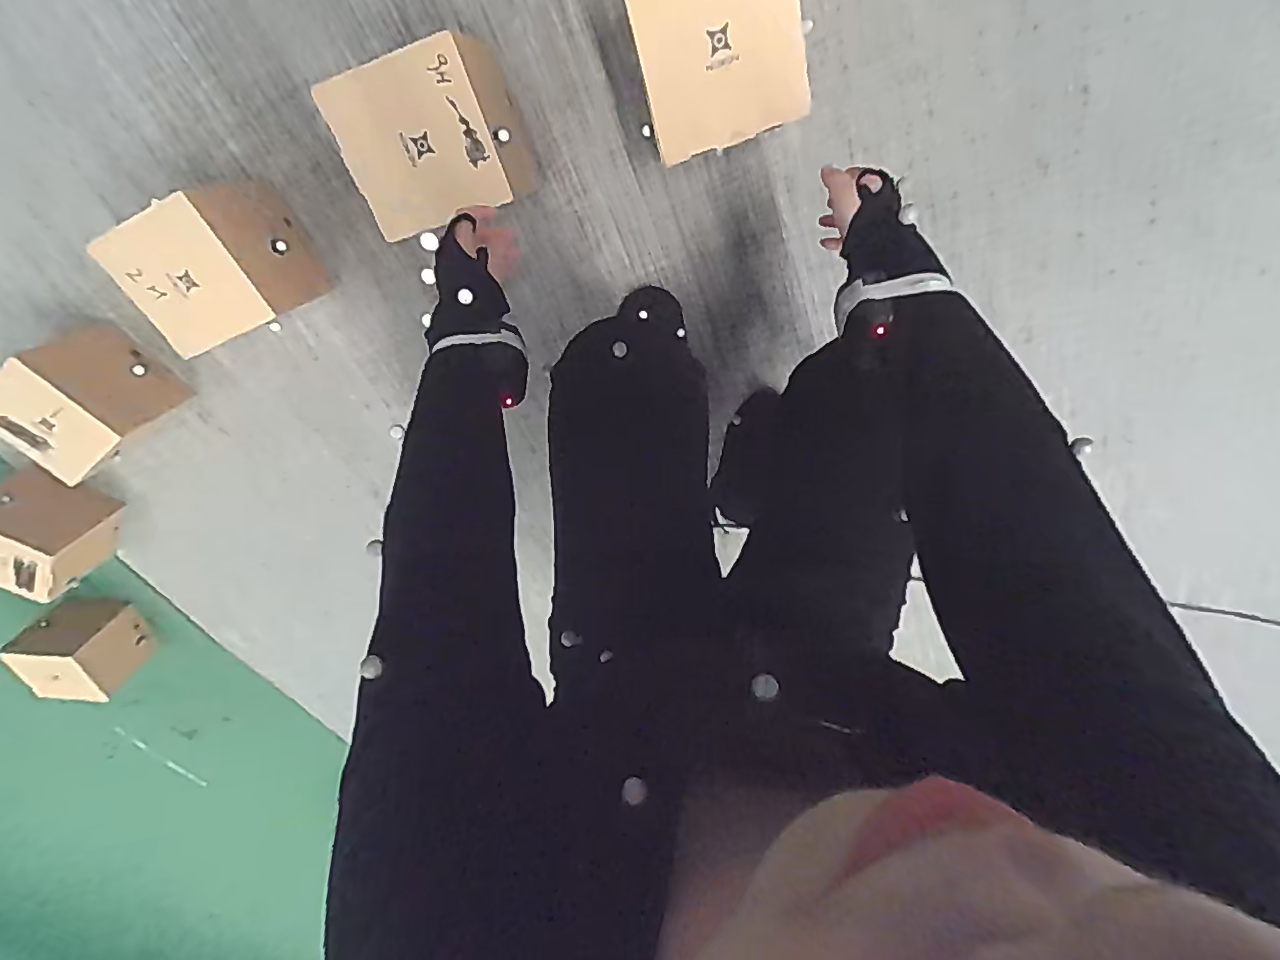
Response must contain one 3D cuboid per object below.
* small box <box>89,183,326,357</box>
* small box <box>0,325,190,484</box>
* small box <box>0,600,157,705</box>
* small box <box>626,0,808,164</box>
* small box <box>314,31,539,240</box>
[{"bbox_3d":[-0.591,-0.305,0.774,0.179,0.176,0.168,-17,120,14],"label":"small box"},{"bbox_3d":[-0.923,-0.130,0.908,0.179,0.176,0.168,-29,117,19],"label":"small box"},{"bbox_3d":[-1.324,0.405,1.284,0.179,0.176,0.168,3,123,2],"label":"small box"},{"bbox_3d":[0.083,-0.485,0.619,0.168,0.176,0.179,-13,122,11],"label":"small box"},{"bbox_3d":[-0.248,-0.421,0.678,0.179,0.176,0.168,-12,122,12],"label":"small box"}]
